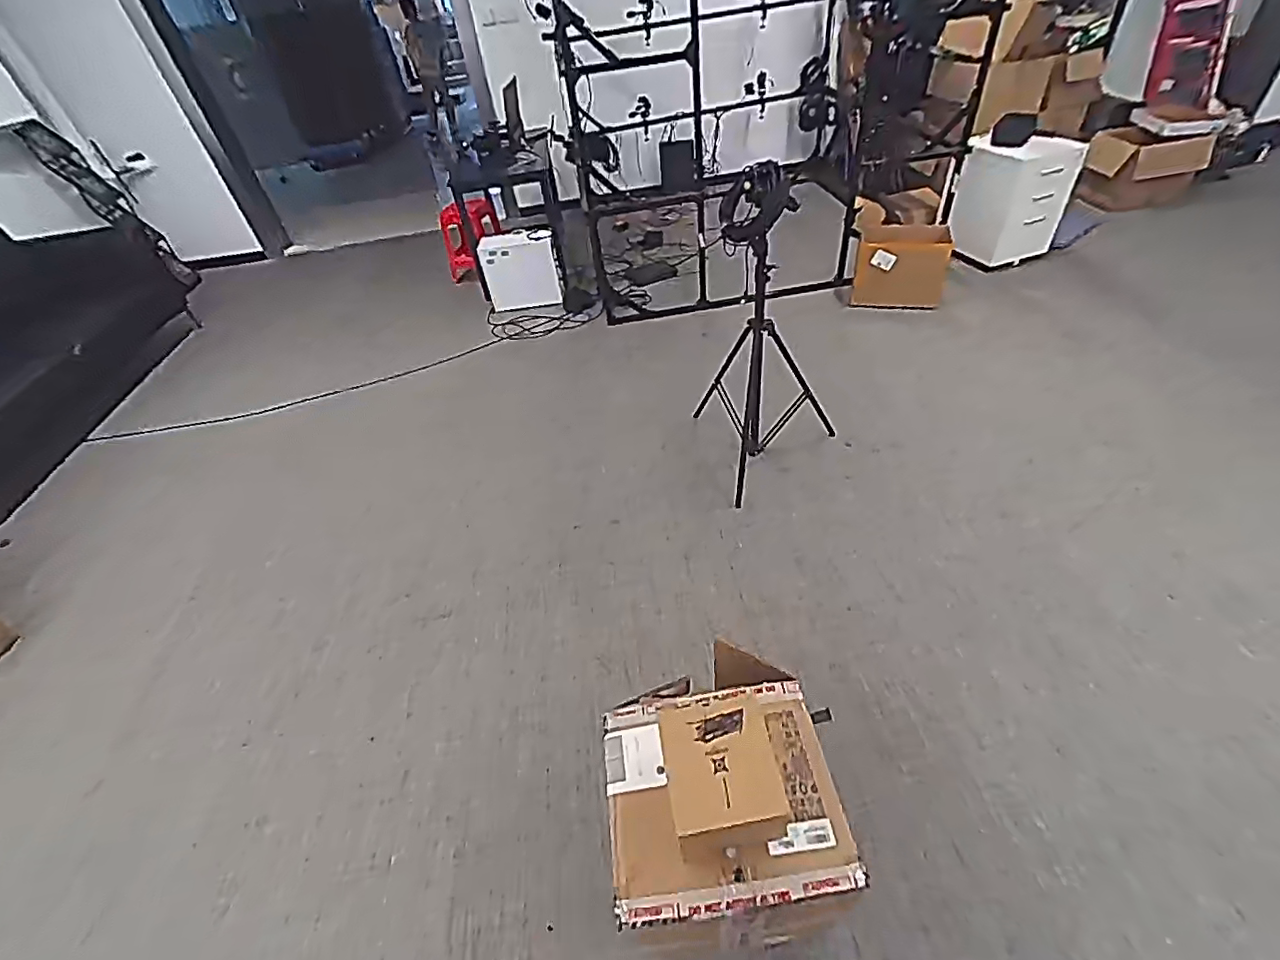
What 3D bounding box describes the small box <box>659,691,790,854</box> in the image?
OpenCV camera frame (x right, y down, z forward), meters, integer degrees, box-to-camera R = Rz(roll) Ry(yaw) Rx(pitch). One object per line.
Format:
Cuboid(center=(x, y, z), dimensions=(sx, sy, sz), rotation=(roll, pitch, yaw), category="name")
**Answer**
Cuboid(center=(0.127, 0.468, 0.866), dimensions=(0.168, 0.176, 0.179), rotation=(-10, 46, -1), category="small box")
